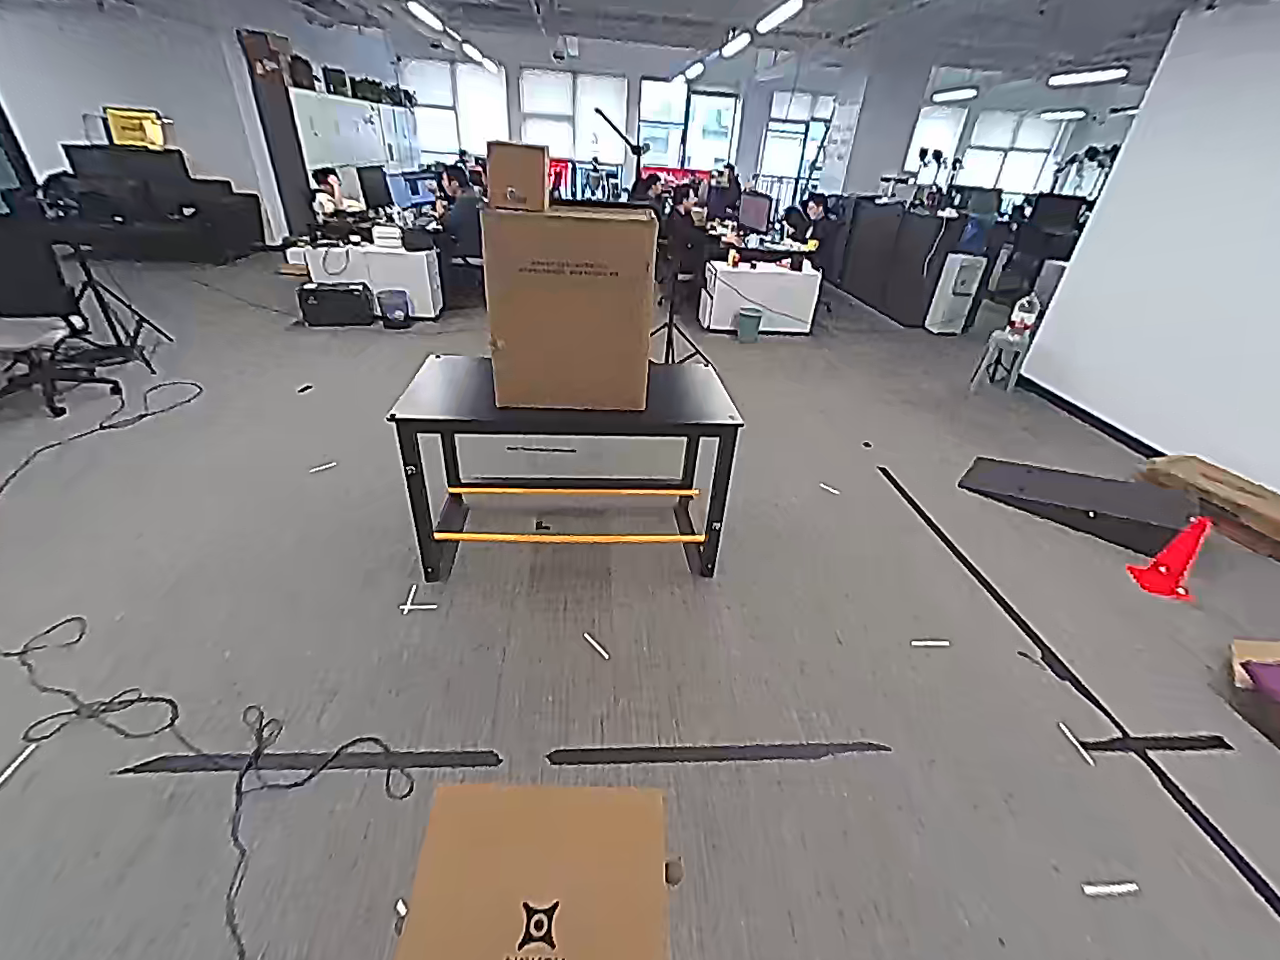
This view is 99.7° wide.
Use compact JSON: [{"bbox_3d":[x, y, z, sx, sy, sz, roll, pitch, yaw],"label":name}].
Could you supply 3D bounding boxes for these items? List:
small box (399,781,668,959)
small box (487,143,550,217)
[{"bbox_3d":[-0.071,0.341,0.392,0.168,0.176,0.179,3,46,-3],"label":"small box"},{"bbox_3d":[-0.357,-0.895,1.611,0.168,0.176,0.179,1,33,-7],"label":"small box"}]
